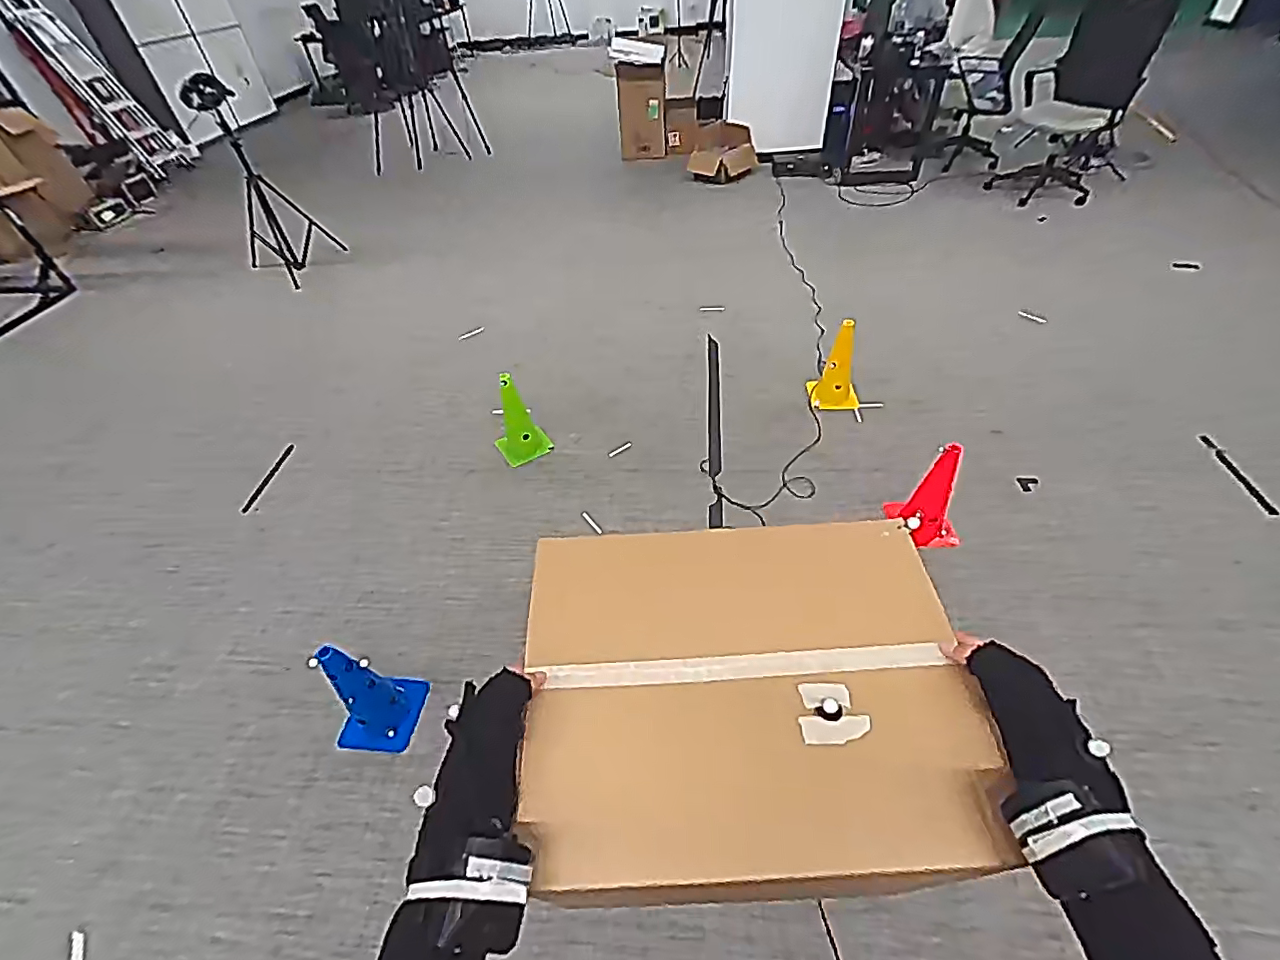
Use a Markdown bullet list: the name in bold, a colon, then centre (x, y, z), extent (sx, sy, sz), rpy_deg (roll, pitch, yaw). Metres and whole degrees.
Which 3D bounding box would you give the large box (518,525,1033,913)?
- **large box**: centre (0.099, 0.275, 0.616), extent (0.408, 0.320, 0.320), rpy_deg (-3, 50, 0)

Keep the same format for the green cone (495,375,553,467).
- **green cone**: centre (-0.504, -0.265, 2.157), extent (0.202, 0.368, 0.200), rpy_deg (-29, 49, -19)

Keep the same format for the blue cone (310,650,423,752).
- **blue cone**: centre (-0.733, 0.546, 1.402), extent (0.192, 0.380, 0.193), rpy_deg (2, 45, 9)

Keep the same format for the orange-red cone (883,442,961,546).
- **orange-red cone**: centre (0.946, 0.024, 1.736), extent (0.198, 0.360, 0.199), rpy_deg (-1, 44, 3)
